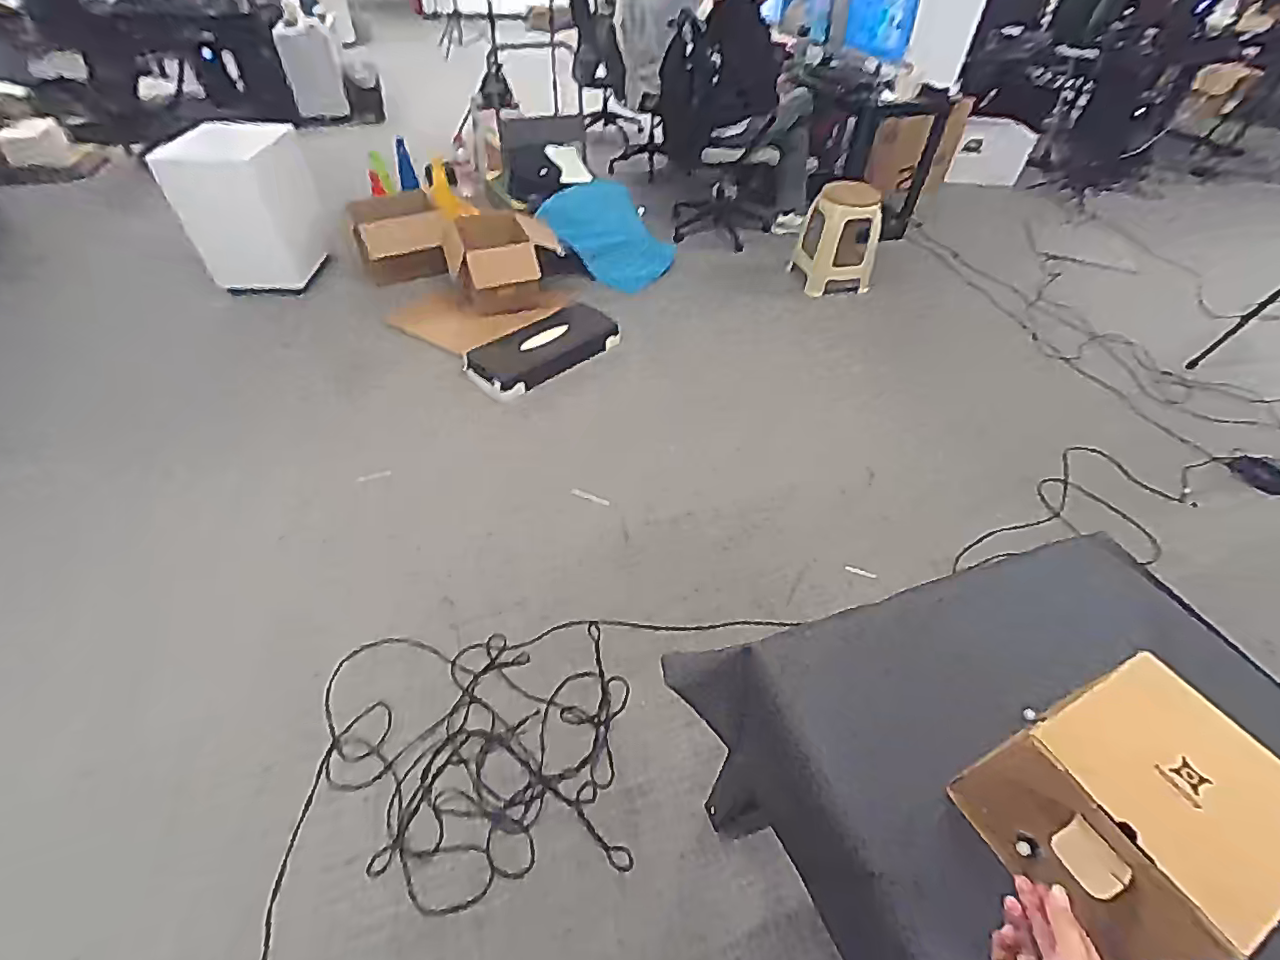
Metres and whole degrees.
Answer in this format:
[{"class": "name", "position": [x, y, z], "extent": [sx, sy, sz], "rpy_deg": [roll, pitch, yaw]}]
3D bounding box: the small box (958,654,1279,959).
[{"class": "small box", "position": [0.442, 0.298, 0.496], "extent": [0.179, 0.176, 0.168], "rpy_deg": [-20, 51, -20]}]
